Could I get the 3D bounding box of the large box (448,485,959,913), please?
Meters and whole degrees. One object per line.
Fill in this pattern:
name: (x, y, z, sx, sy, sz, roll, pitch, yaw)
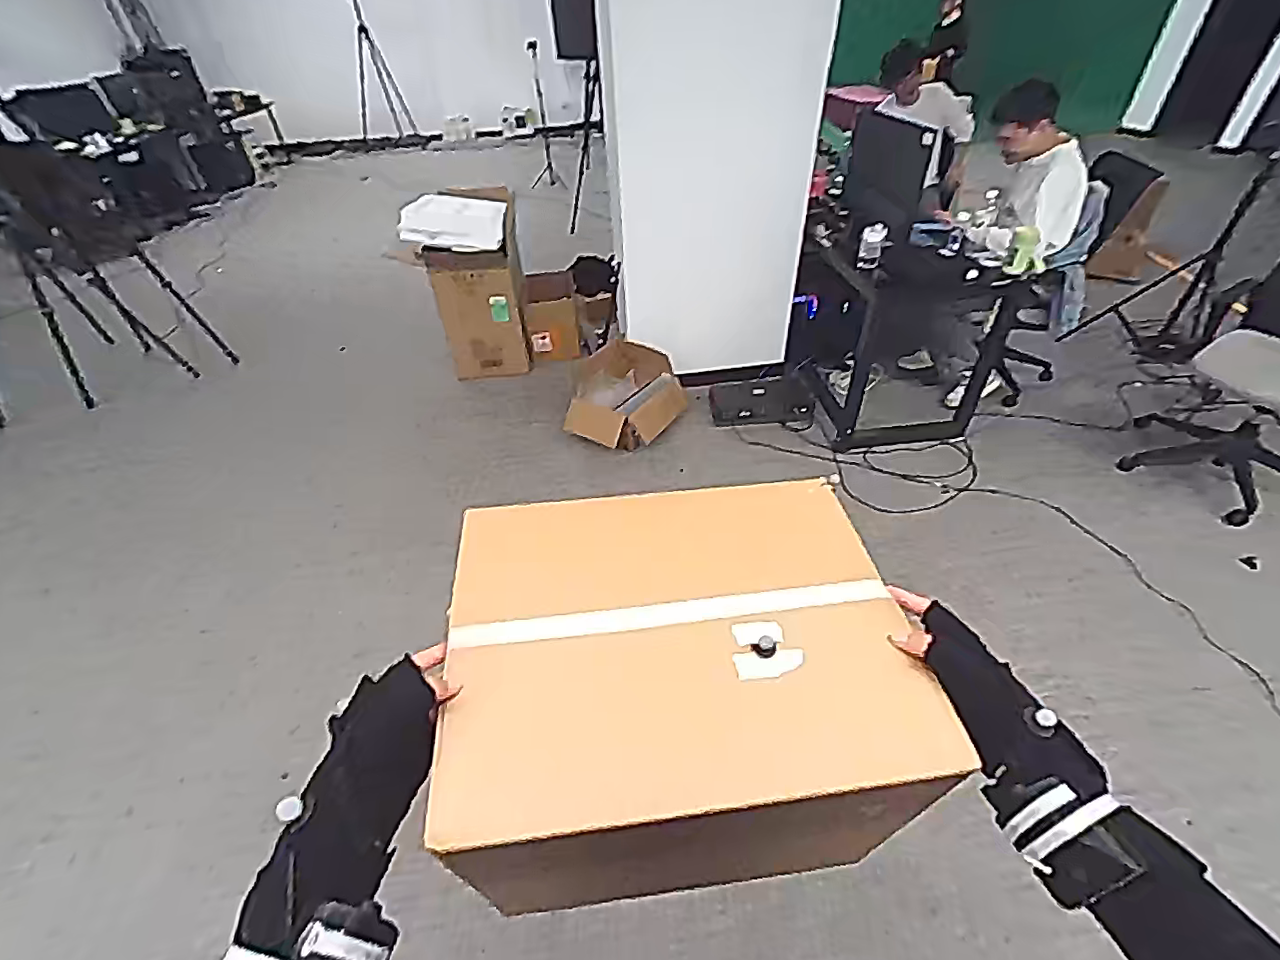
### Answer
large box: (0.033, 0.237, 0.609, 0.408, 0.320, 0.320, -5, 45, -6)
